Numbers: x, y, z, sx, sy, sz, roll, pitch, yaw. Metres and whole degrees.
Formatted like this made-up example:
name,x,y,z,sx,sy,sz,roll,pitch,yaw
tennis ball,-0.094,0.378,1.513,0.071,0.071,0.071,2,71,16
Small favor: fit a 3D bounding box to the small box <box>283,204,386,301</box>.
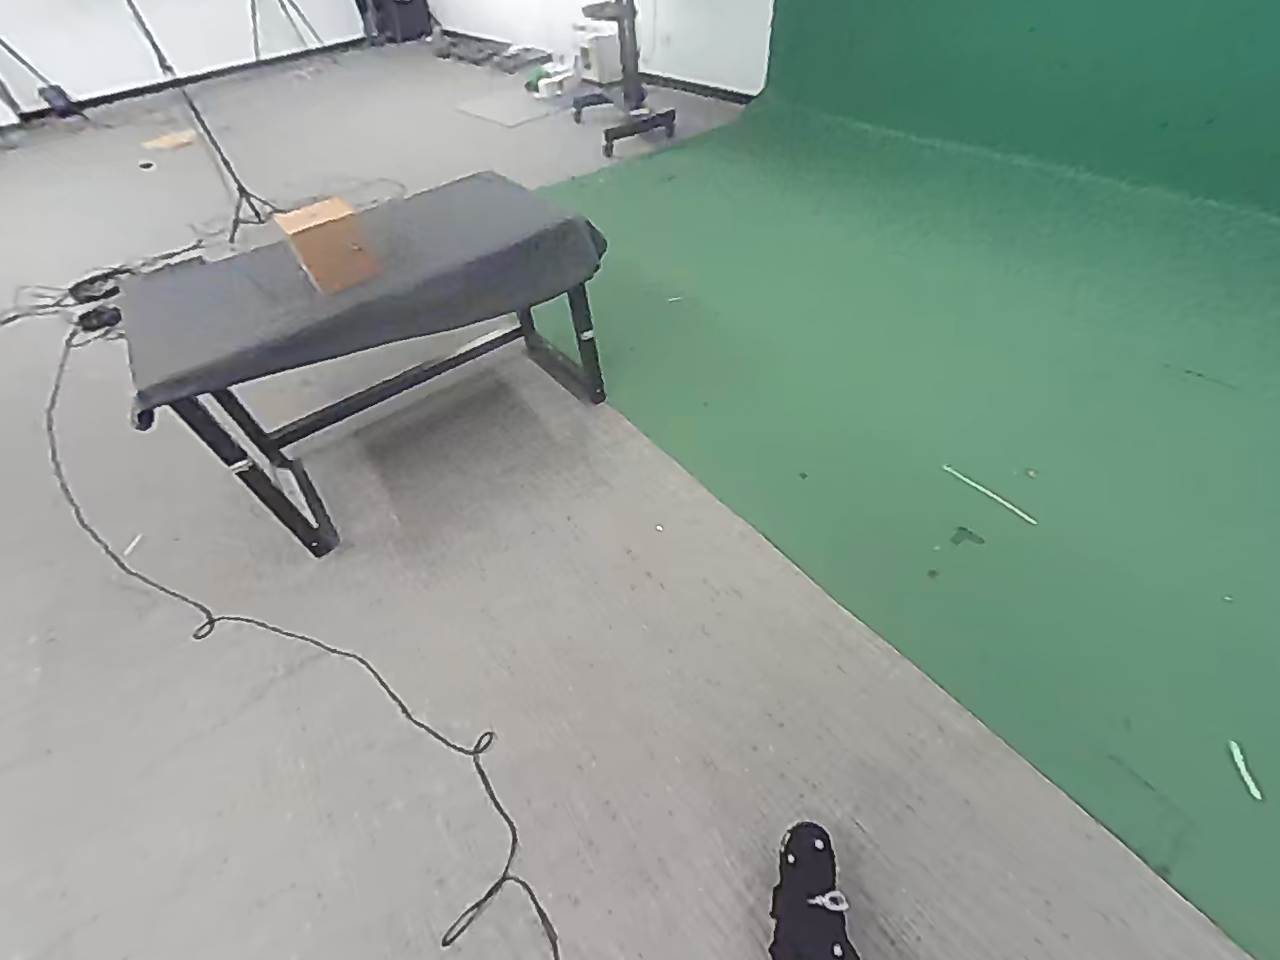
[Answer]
name,x,y,z,sx,sy,sz,roll,pitch,yaw
small box,-0.820,-0.620,1.473,0.179,0.176,0.168,-34,51,-20
